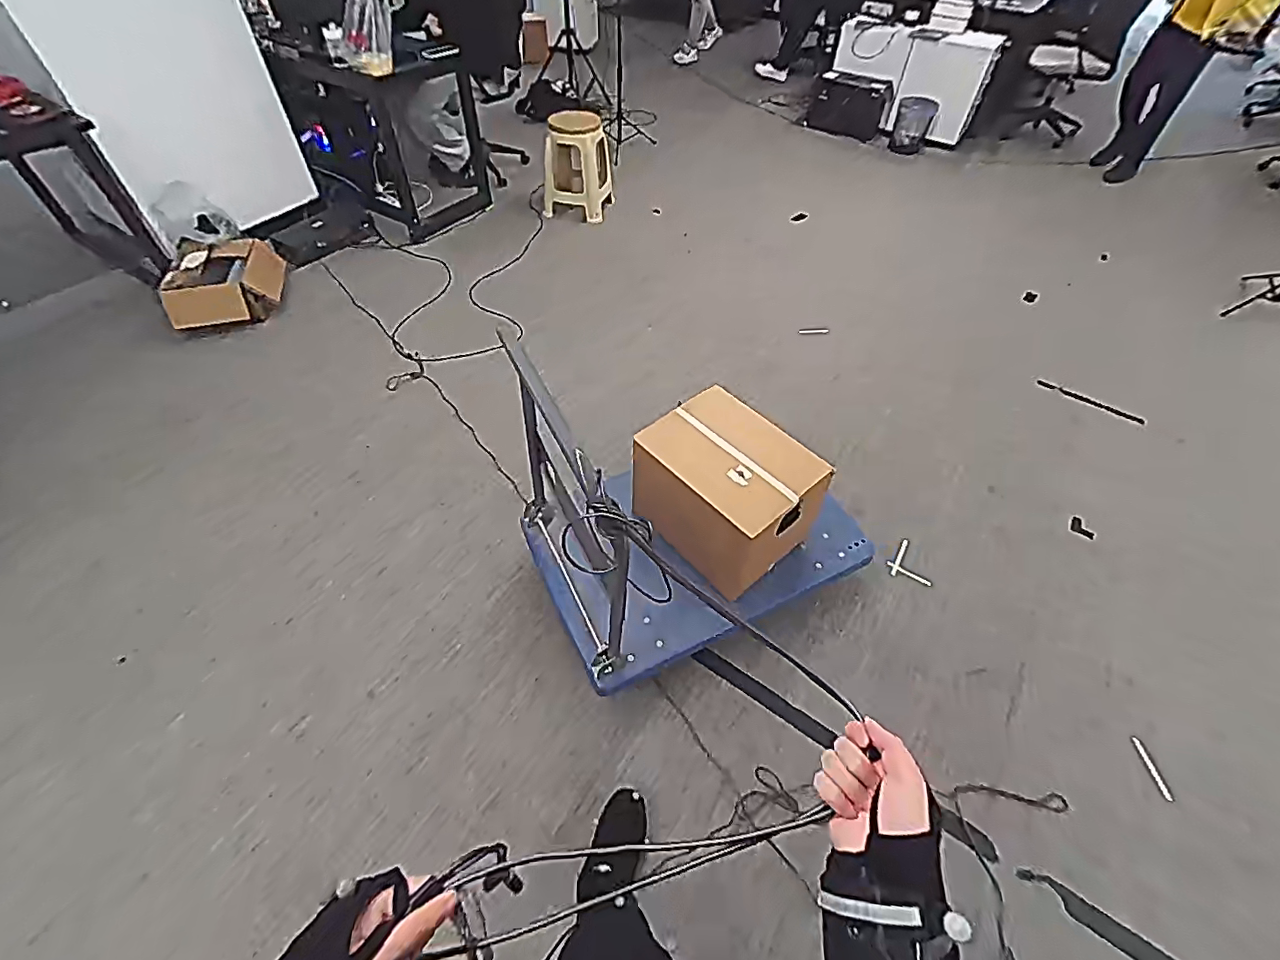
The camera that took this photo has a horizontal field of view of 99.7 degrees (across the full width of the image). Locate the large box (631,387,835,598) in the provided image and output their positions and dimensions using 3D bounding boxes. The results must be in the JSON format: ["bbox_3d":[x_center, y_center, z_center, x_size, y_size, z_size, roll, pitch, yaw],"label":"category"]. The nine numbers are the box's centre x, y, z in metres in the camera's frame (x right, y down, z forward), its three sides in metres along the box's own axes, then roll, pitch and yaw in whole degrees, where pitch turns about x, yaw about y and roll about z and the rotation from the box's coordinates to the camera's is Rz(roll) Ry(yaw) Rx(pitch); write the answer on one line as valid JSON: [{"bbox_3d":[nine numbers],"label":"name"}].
[{"bbox_3d":[0.221,0.028,1.442,0.320,0.320,0.408,-35,61,-25],"label":"large box"}]
